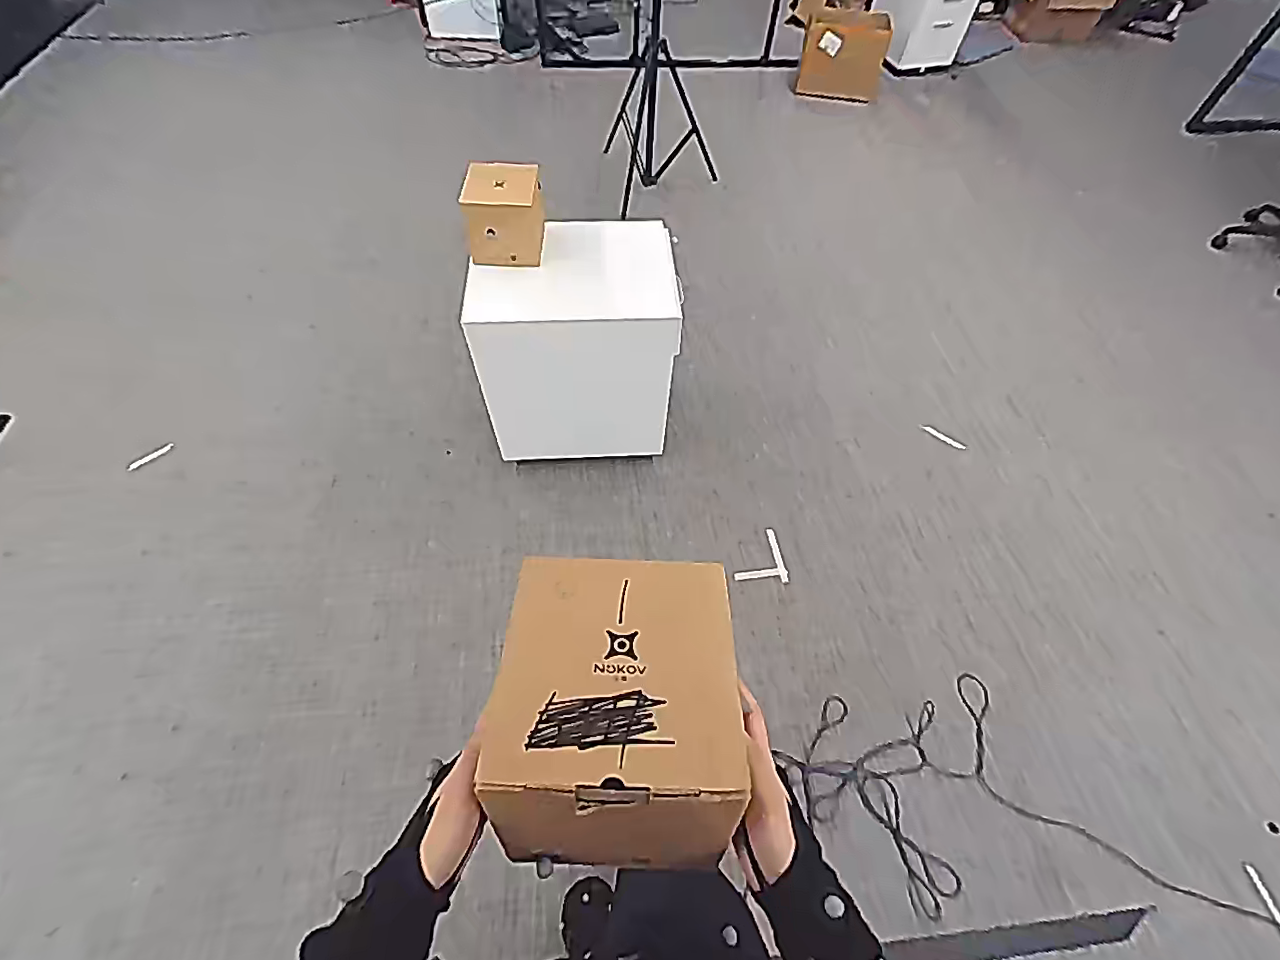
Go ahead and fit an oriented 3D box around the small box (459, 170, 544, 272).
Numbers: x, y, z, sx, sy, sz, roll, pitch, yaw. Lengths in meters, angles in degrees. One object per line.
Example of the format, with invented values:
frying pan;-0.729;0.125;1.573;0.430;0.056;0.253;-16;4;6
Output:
small box;-0.333;-0.636;1.336;0.168;0.176;0.179;0;57;-3
